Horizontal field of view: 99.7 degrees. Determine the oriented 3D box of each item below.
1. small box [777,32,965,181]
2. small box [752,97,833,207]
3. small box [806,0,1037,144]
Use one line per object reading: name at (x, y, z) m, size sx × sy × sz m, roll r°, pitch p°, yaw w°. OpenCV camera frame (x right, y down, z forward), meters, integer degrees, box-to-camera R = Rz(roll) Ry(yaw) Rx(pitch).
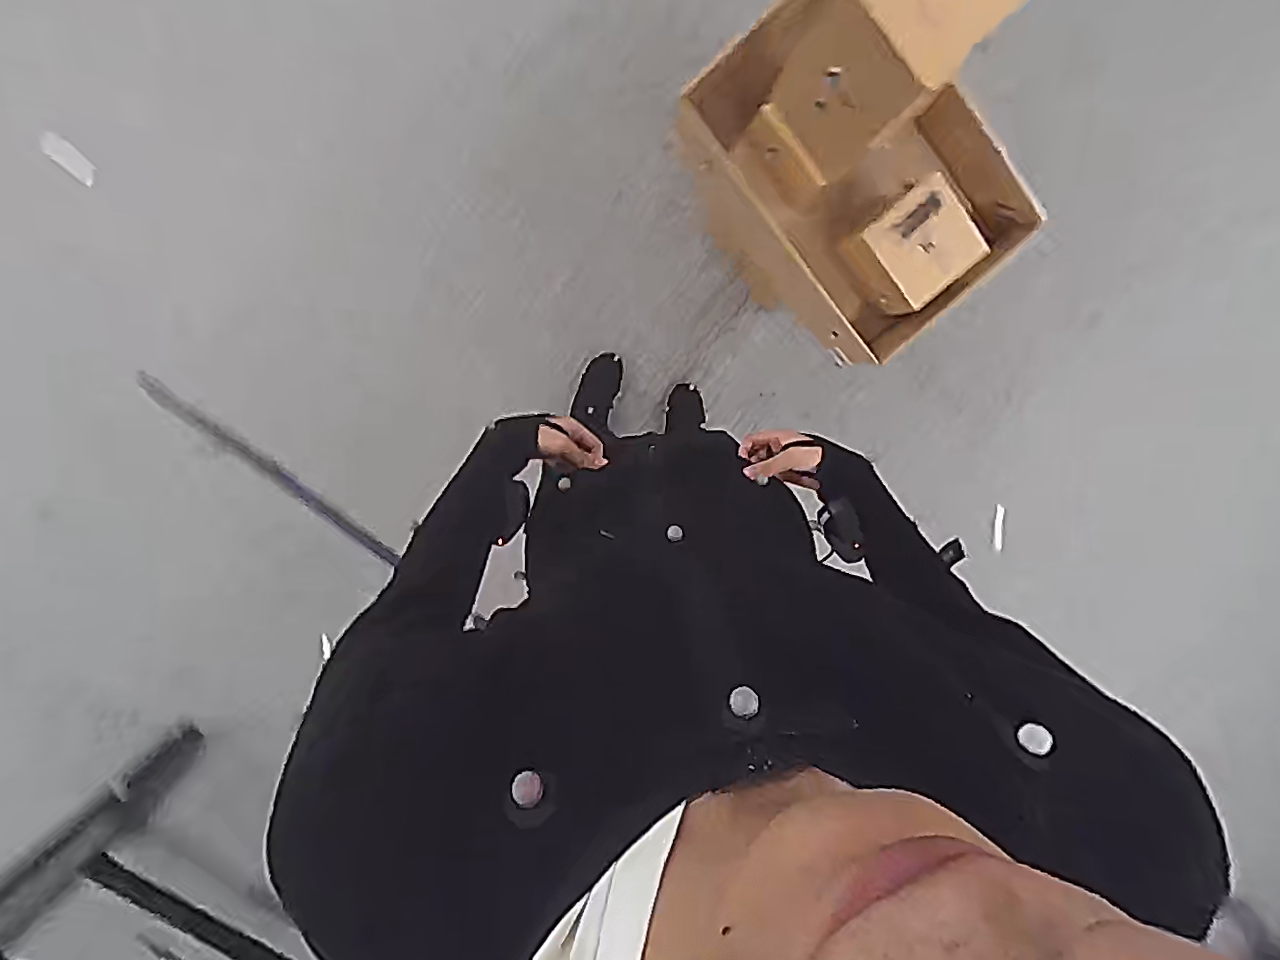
small box at (0.339, -0.605, 0.831) m, size 0.168 × 0.176 × 0.179 m, roll -40°, pitch 102°, yaw 7°
small box at (0.325, -0.640, 0.992) m, size 0.179 × 0.176 × 0.168 m, roll -42°, pitch 102°, yaw 7°
small box at (0.341, -0.572, 0.671) m, size 0.179 × 0.176 × 0.168 m, roll -42°, pitch 100°, yaw 6°
